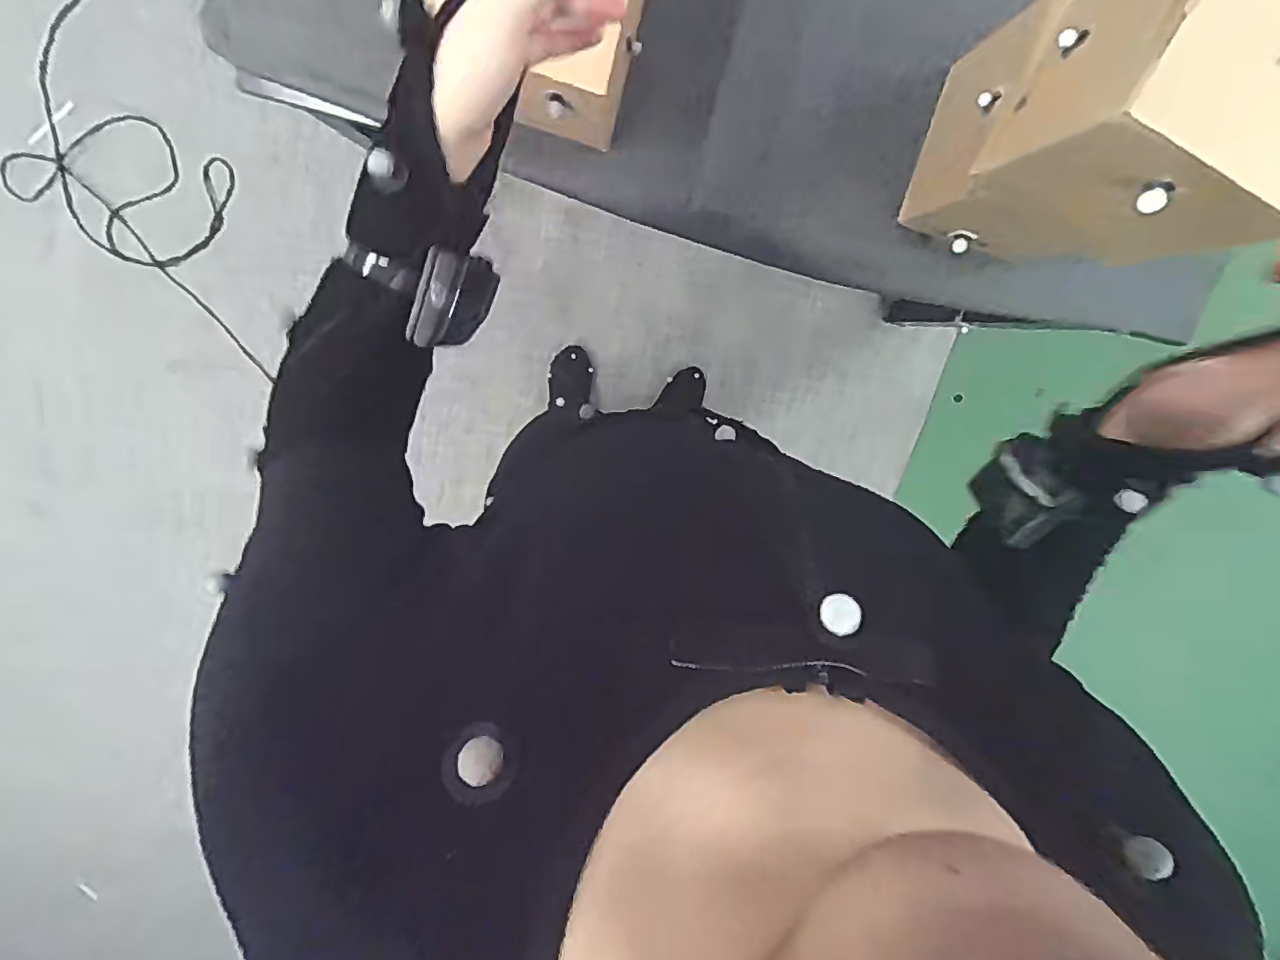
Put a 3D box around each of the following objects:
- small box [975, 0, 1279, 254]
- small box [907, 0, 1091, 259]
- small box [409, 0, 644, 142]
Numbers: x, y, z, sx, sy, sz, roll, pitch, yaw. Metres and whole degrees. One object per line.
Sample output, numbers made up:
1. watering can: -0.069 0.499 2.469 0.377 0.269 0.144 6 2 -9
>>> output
1. small box: 0.416 -0.292 0.415 0.179 0.176 0.168 24 103 -7
2. small box: 0.416 -0.349 0.567 0.168 0.176 0.179 13 105 -5
3. small box: -0.093 -0.455 0.520 0.179 0.176 0.168 15 105 -6
